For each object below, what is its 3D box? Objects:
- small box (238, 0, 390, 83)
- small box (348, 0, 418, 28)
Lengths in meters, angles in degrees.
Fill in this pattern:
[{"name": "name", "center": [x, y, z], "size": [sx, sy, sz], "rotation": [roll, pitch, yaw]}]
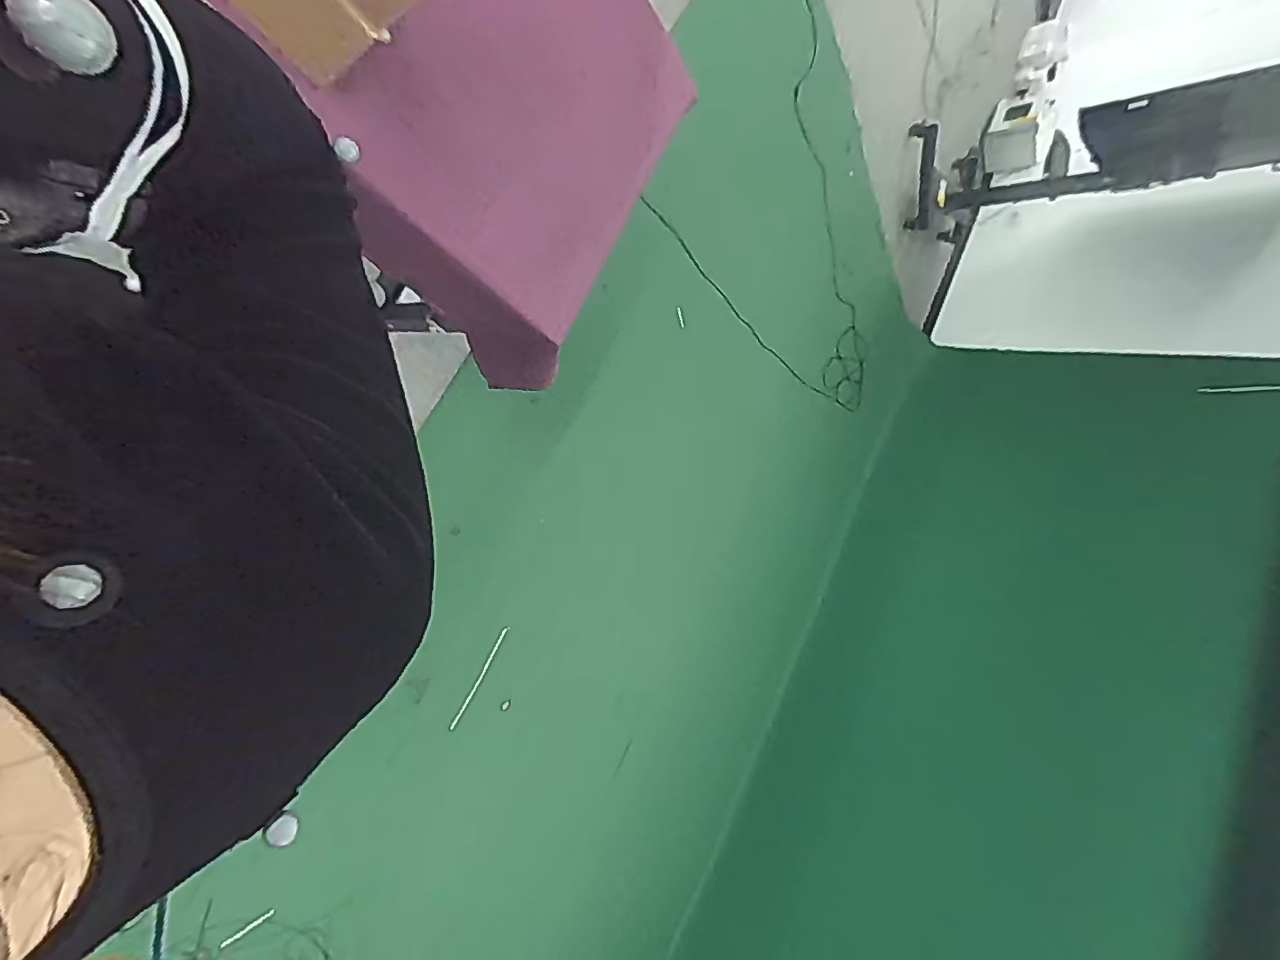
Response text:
[{"name": "small box", "center": [-0.331, -0.555, 0.545], "size": [0.179, 0.176, 0.168], "rotation": [39, 73, -46]}, {"name": "small box", "center": [-0.211, -0.529, 0.438], "size": [0.168, 0.176, 0.179], "rotation": [36, 74, -47]}]
